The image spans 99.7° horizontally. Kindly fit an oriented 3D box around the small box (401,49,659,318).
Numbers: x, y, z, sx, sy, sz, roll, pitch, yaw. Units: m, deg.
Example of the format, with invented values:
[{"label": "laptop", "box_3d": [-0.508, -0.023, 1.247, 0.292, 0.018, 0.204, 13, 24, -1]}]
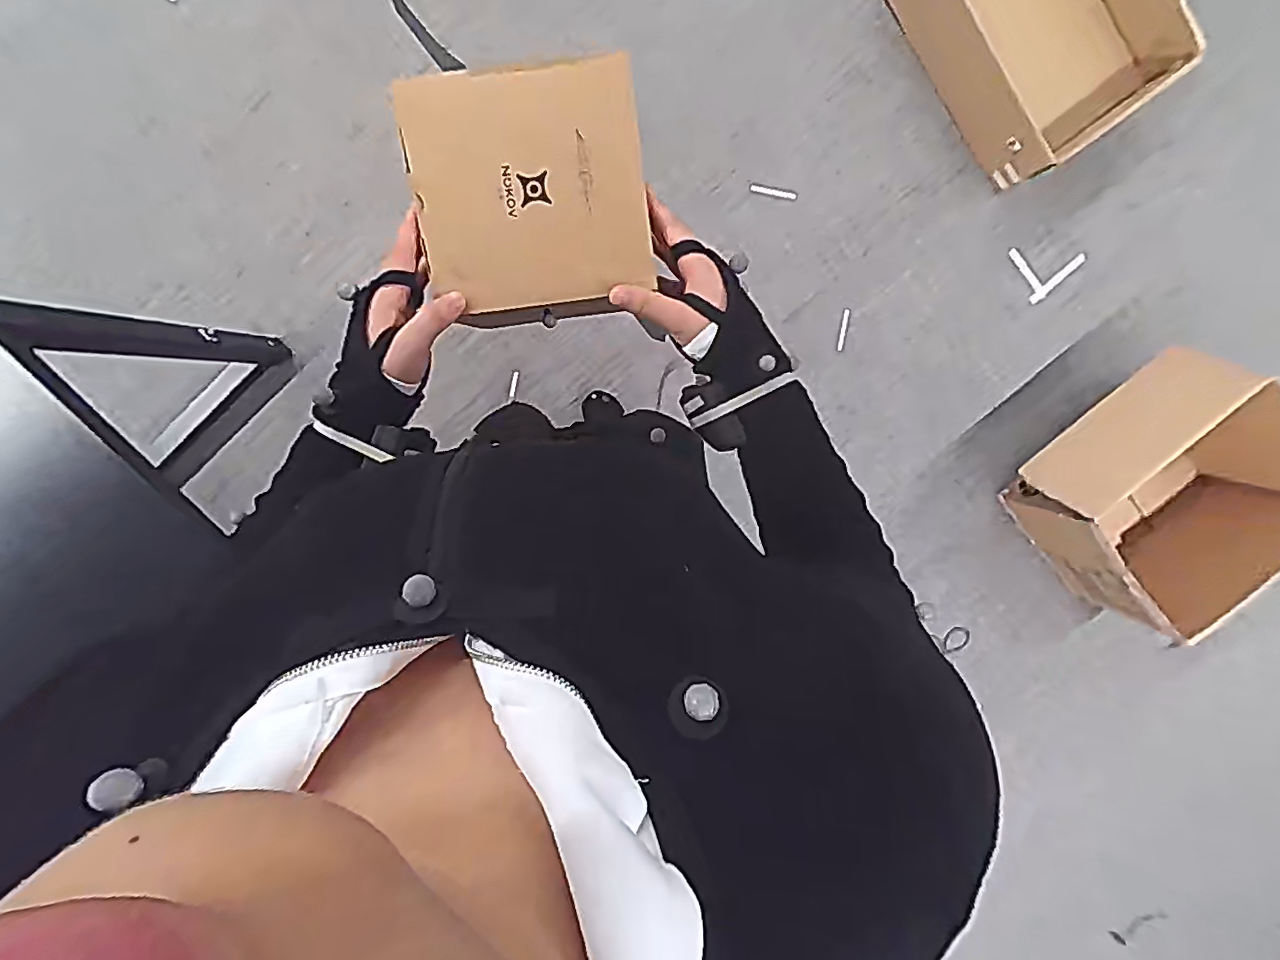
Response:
[{"label": "small box", "box_3d": [-0.083, -0.243, 0.488, 0.179, 0.176, 0.168, -8, 105, -2]}]
